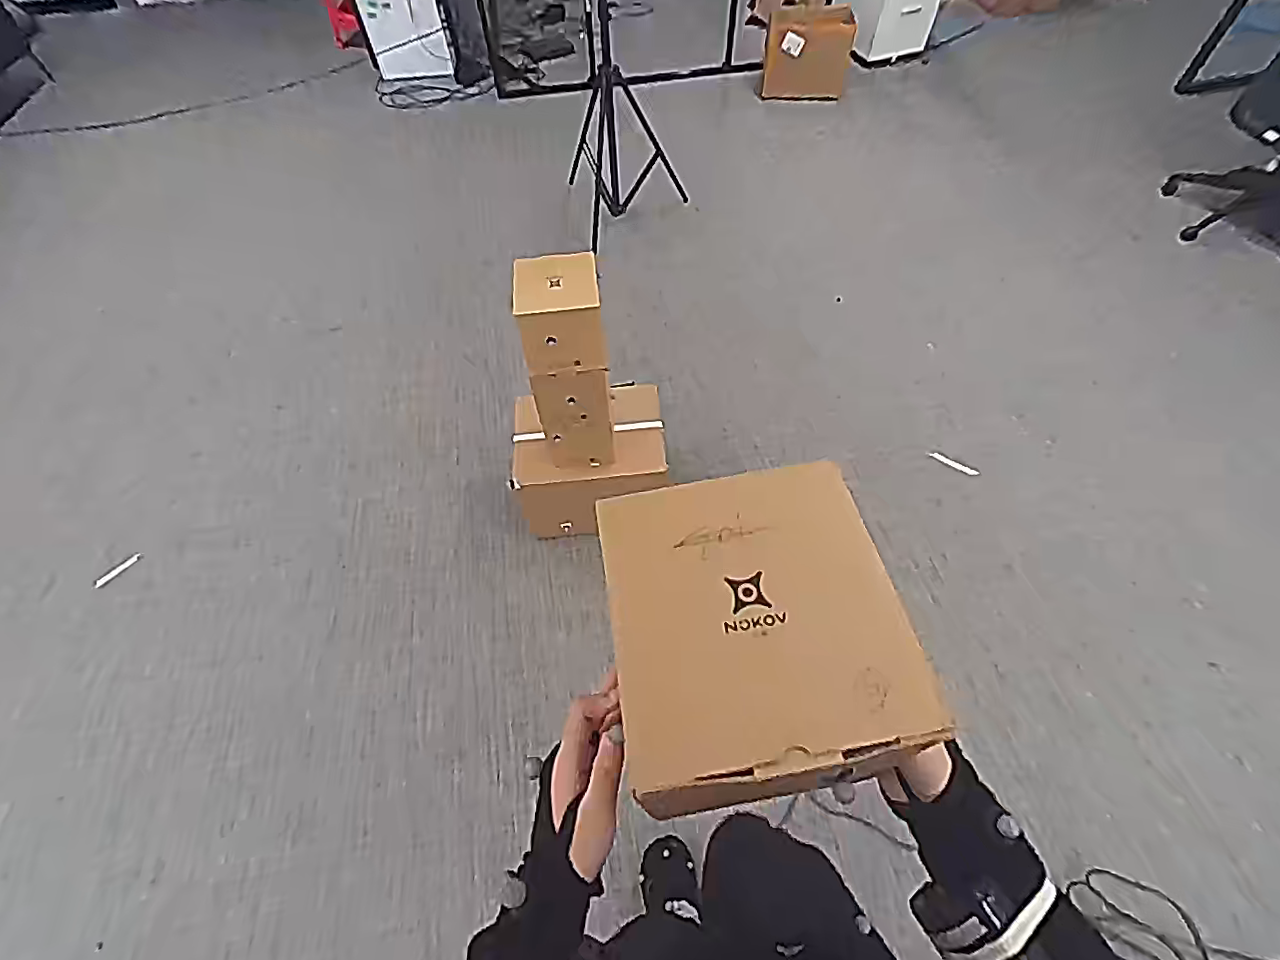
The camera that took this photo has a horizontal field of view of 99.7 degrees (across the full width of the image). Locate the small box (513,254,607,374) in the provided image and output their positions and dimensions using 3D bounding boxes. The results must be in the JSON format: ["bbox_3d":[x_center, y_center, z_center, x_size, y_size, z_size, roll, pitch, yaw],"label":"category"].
[{"bbox_3d":[-0.161,-0.335,1.117,0.168,0.176,0.179,-7,56,-3],"label":"small box"}]

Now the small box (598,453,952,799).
[{"bbox_3d":[0.071,0.110,0.379,0.168,0.176,0.179,-10,53,-2],"label":"small box"}]

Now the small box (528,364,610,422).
[{"bbox_3d":[-0.161,-0.247,1.255,0.168,0.176,0.179,-5,58,-2],"label":"small box"}]
